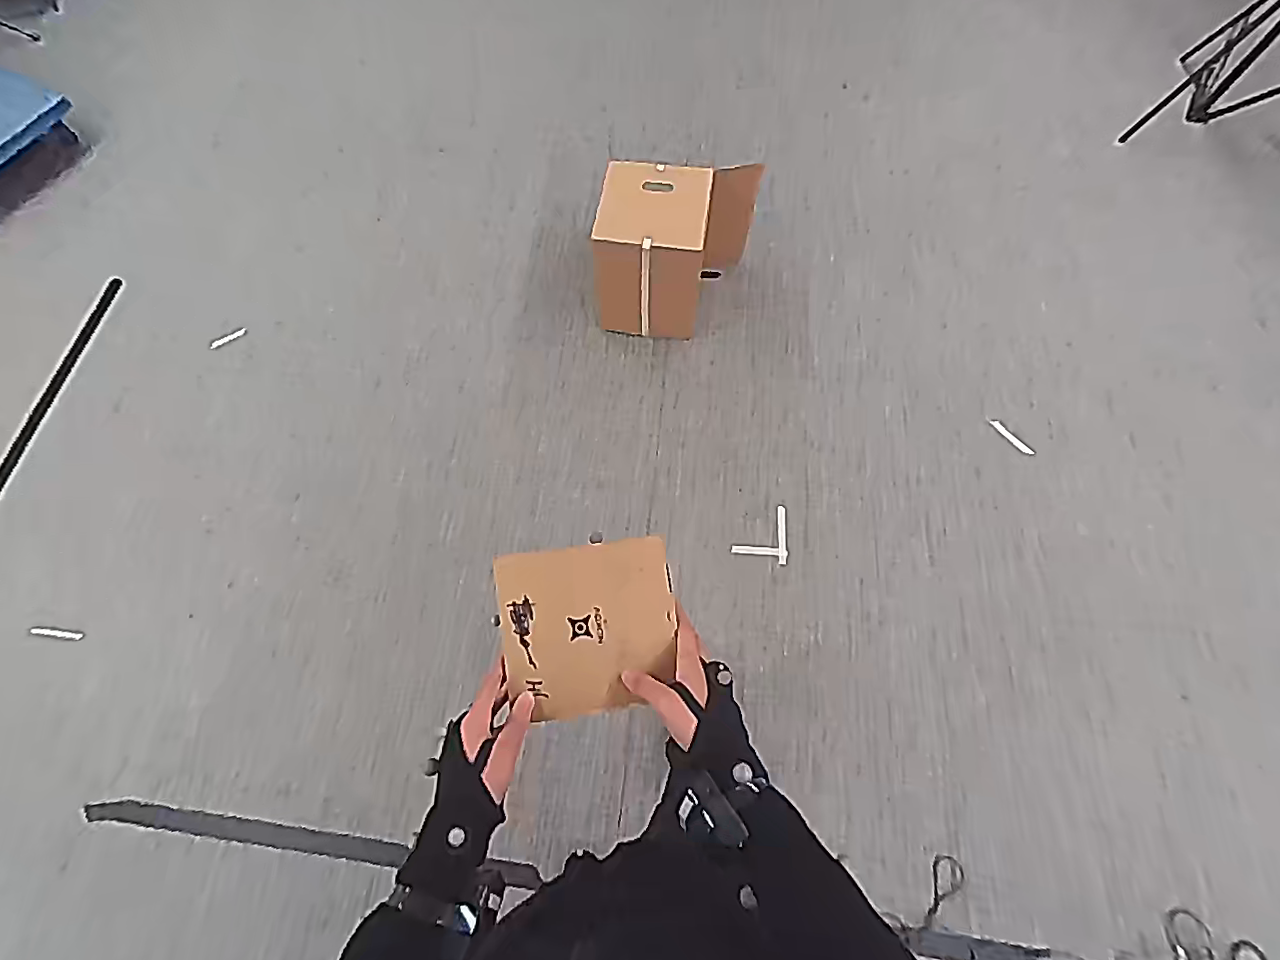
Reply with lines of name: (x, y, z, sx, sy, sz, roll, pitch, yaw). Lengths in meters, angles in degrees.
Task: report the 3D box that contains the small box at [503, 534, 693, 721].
small box: (-0.048, 0.152, 0.614, 0.179, 0.176, 0.168, -7, 83, -4)
